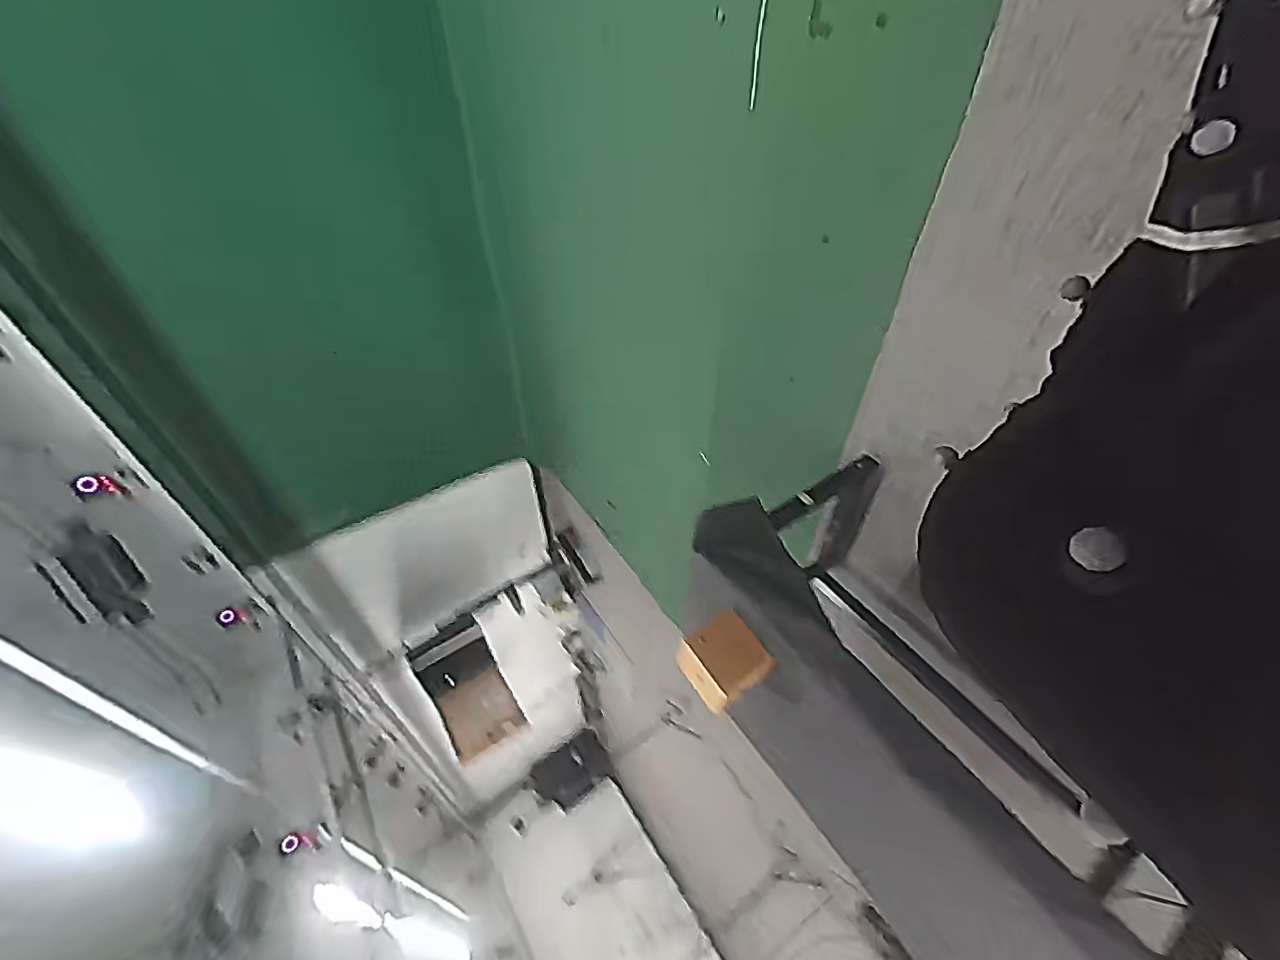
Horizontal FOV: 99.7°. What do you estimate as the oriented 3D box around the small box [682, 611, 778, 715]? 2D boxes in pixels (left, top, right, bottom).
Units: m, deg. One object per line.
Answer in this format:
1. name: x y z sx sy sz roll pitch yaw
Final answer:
1. small box: 0.236 0.482 1.433 0.179 0.176 0.168 50 154 30
